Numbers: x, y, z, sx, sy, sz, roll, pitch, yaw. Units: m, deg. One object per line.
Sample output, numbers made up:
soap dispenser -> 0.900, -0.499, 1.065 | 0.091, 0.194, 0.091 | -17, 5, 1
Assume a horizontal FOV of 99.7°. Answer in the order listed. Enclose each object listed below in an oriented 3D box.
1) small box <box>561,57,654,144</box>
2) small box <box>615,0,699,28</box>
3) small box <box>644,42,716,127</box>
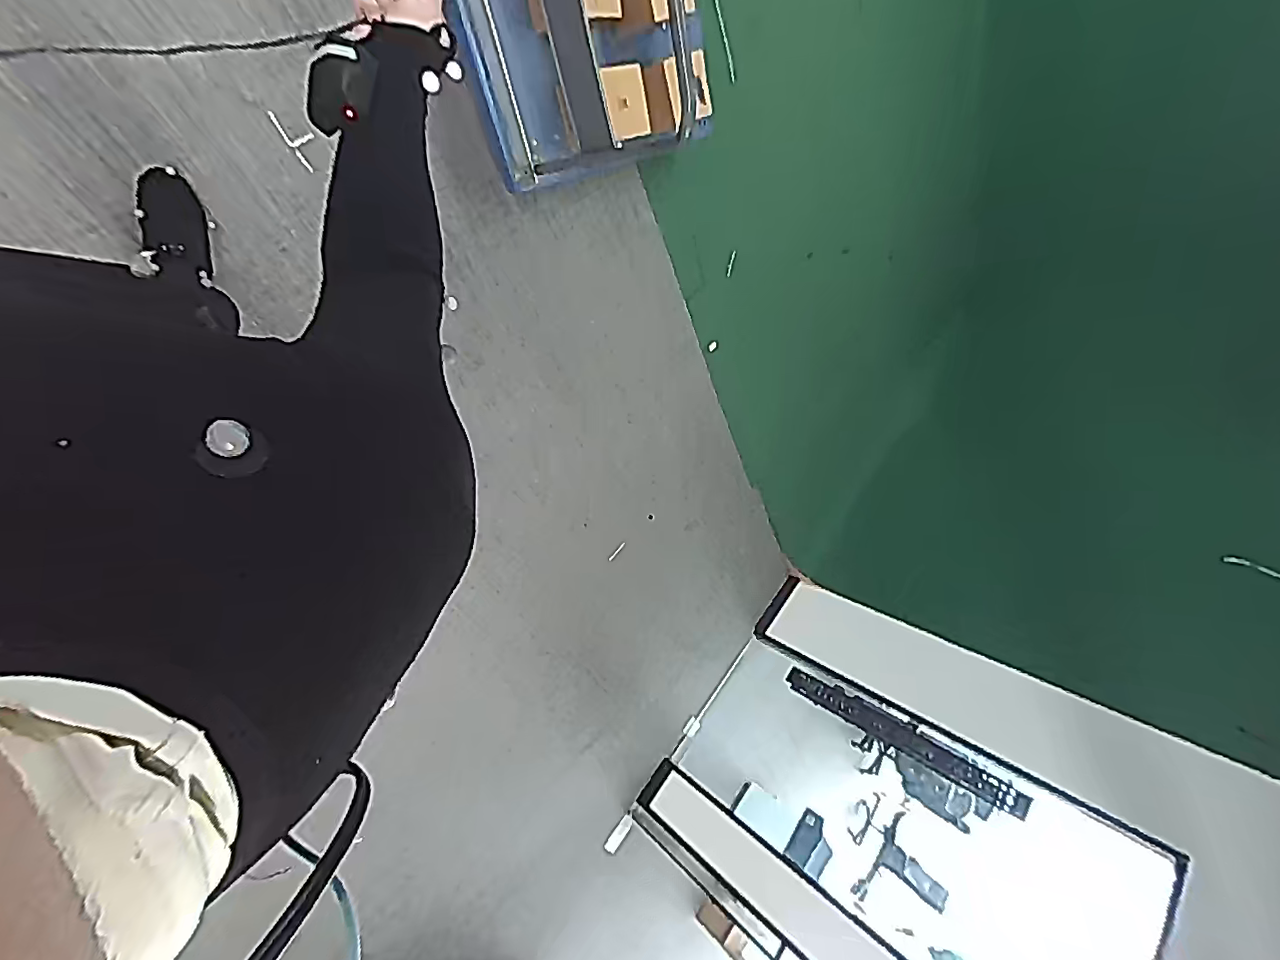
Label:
small box -> -0.091, -1.059, 1.513 | 0.179, 0.176, 0.168 | -35, 127, -30
small box -> 0.033, -1.393, 1.502 | 0.179, 0.176, 0.168 | -39, 130, -27
small box -> 0.101, -1.197, 1.644 | 0.179, 0.176, 0.168 | -39, 128, -26
